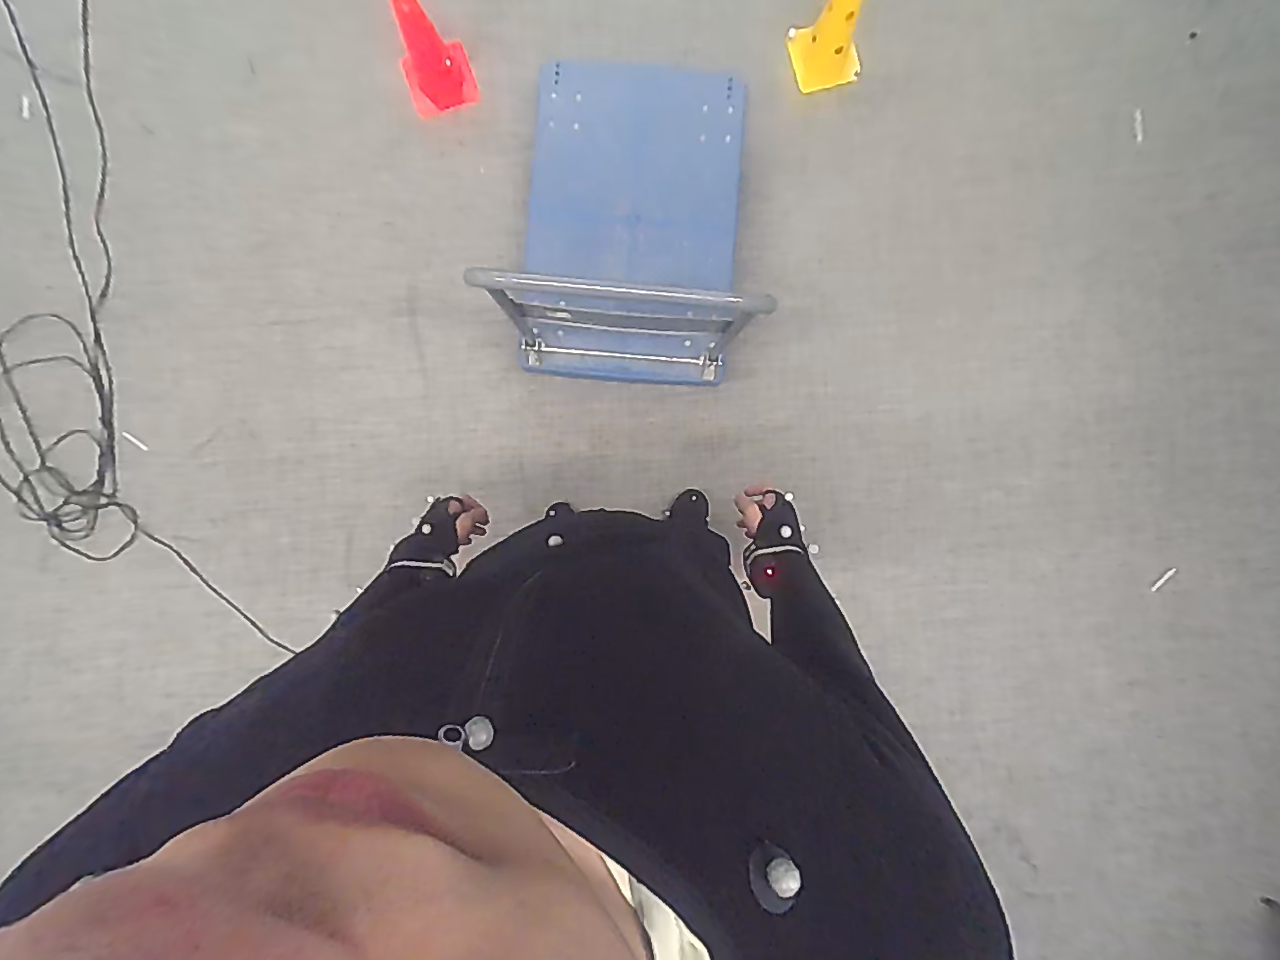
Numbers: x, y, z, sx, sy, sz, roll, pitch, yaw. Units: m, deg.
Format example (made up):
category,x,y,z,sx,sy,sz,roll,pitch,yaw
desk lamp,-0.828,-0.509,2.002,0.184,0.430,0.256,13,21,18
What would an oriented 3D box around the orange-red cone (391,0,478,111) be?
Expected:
category,x,y,z,sx,sy,sz,roll,pitch,yaw
orange-red cone,-0.614,-1.248,1.491,0.199,0.360,0.198,-18,88,1
